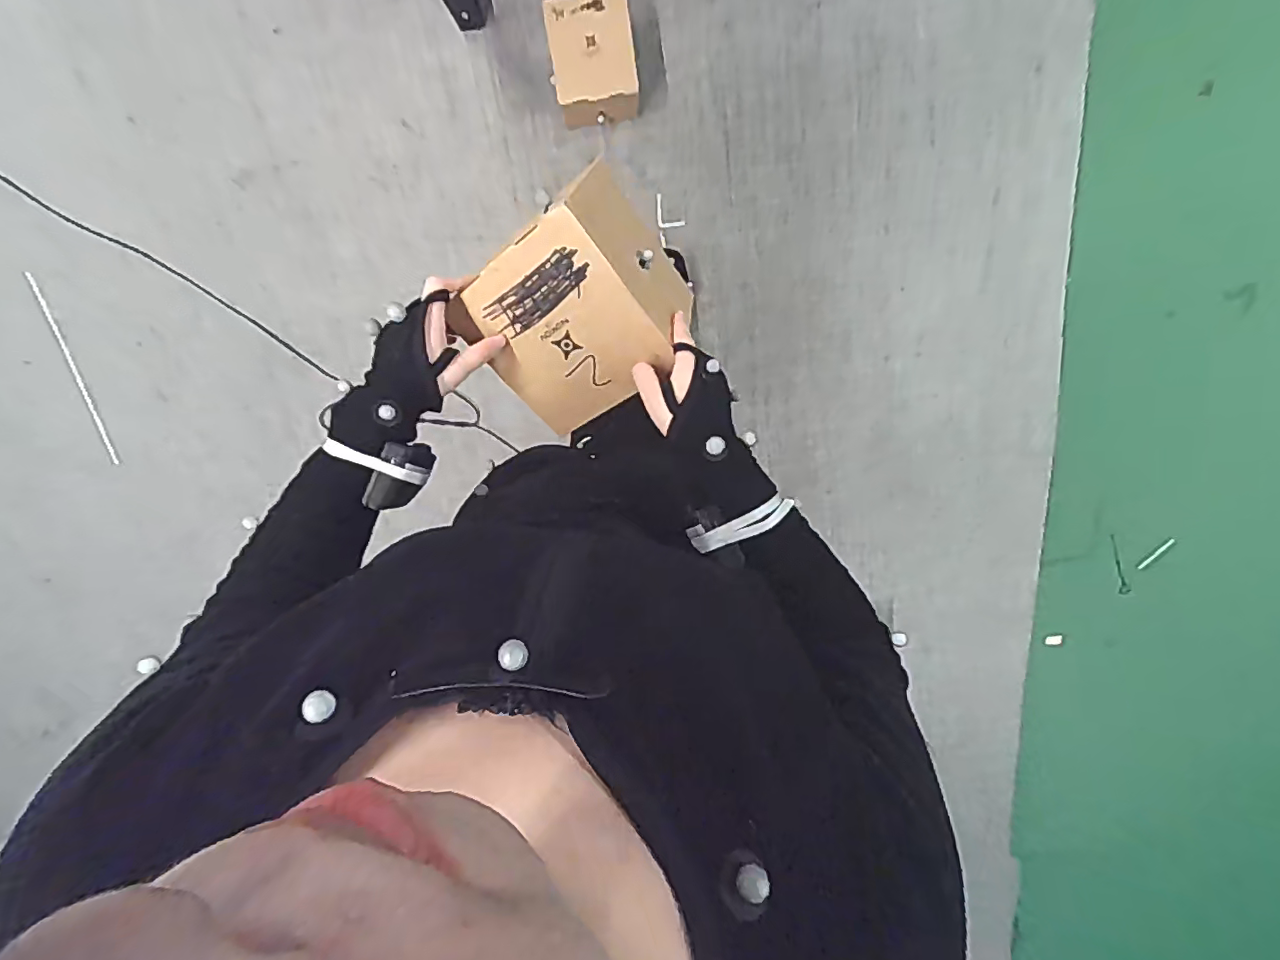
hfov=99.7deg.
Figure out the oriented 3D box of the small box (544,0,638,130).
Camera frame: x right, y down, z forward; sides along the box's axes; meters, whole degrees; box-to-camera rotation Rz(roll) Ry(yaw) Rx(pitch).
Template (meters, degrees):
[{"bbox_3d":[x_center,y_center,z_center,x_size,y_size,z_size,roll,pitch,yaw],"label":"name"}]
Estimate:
[{"bbox_3d":[-0.095,-0.863,1.140,0.168,0.176,0.179,-7,108,2],"label":"small box"}]
